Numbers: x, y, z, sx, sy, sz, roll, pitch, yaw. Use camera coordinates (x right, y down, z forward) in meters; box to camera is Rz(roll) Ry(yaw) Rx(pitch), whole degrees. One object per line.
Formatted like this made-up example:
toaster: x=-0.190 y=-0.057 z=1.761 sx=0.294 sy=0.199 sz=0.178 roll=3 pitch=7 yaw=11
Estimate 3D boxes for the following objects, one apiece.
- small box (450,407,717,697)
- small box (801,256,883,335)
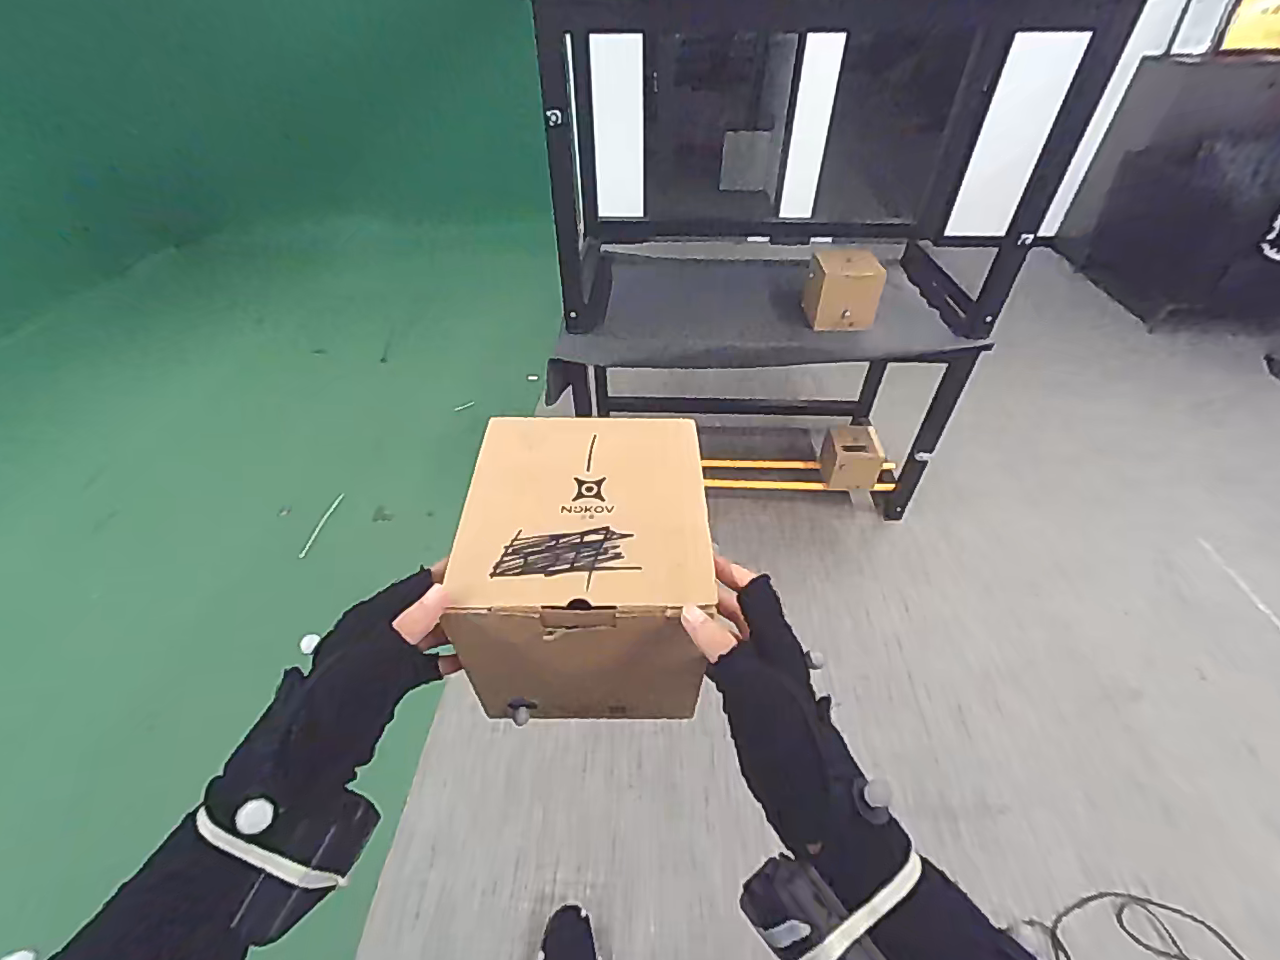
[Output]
small box: x=-0.034 y=0.060 z=0.436 sx=0.168 sy=0.176 sz=0.179 roll=0 pitch=45 yaw=-1
small box: x=0.579 y=-0.538 z=1.575 sx=0.168 sy=0.176 sz=0.179 roll=0 pitch=42 yaw=2
